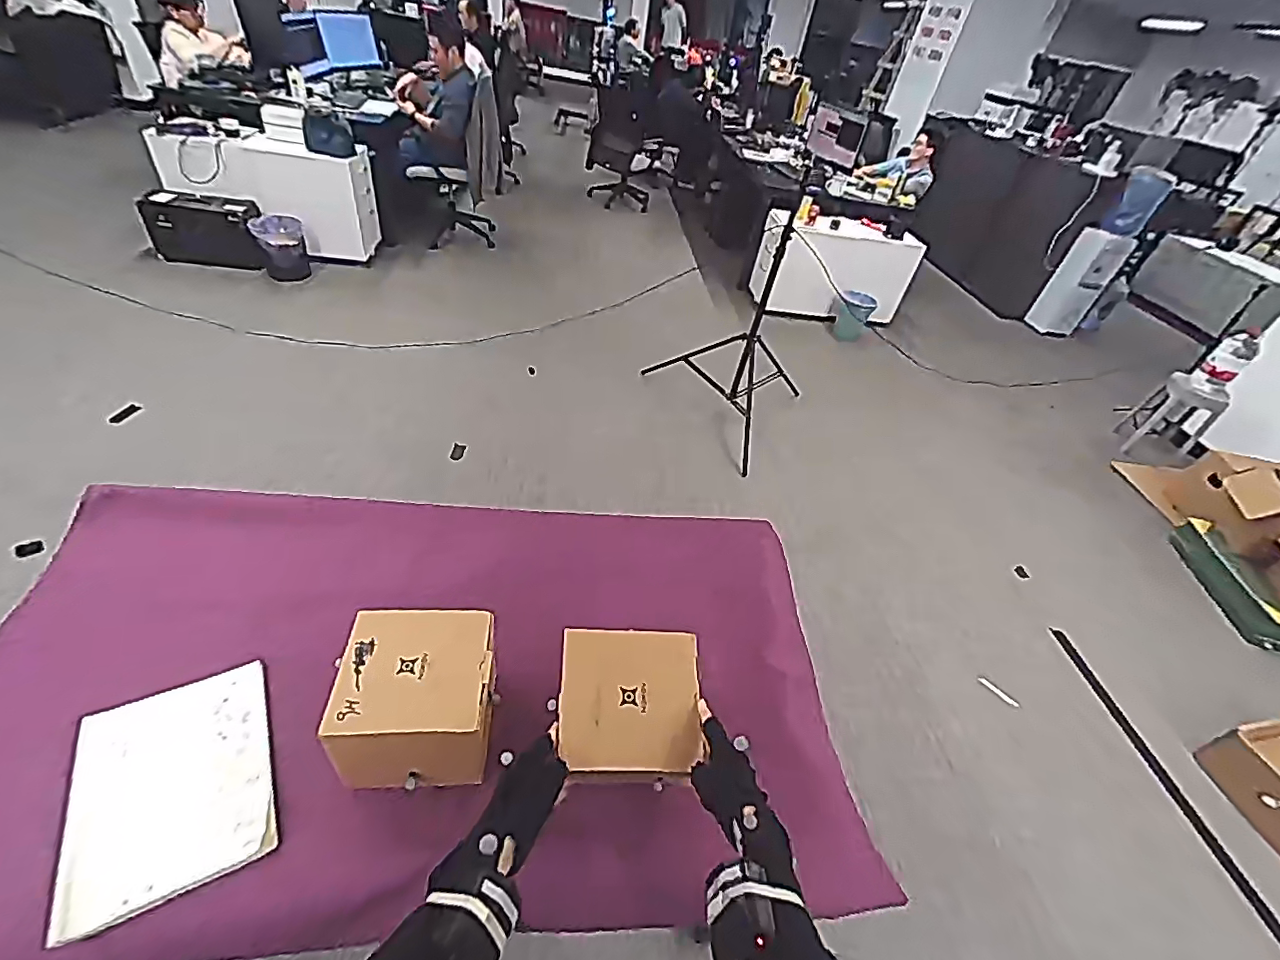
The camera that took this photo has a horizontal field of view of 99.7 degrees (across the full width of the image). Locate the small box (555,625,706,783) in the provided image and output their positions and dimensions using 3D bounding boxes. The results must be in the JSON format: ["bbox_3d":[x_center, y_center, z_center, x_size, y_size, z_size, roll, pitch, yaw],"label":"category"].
[{"bbox_3d":[-0.020,0.305,0.726,0.179,0.176,0.168,3,55,-7],"label":"small box"}]

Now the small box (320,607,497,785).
[{"bbox_3d":[-0.290,0.289,0.721,0.179,0.176,0.168,4,41,-11],"label":"small box"}]
